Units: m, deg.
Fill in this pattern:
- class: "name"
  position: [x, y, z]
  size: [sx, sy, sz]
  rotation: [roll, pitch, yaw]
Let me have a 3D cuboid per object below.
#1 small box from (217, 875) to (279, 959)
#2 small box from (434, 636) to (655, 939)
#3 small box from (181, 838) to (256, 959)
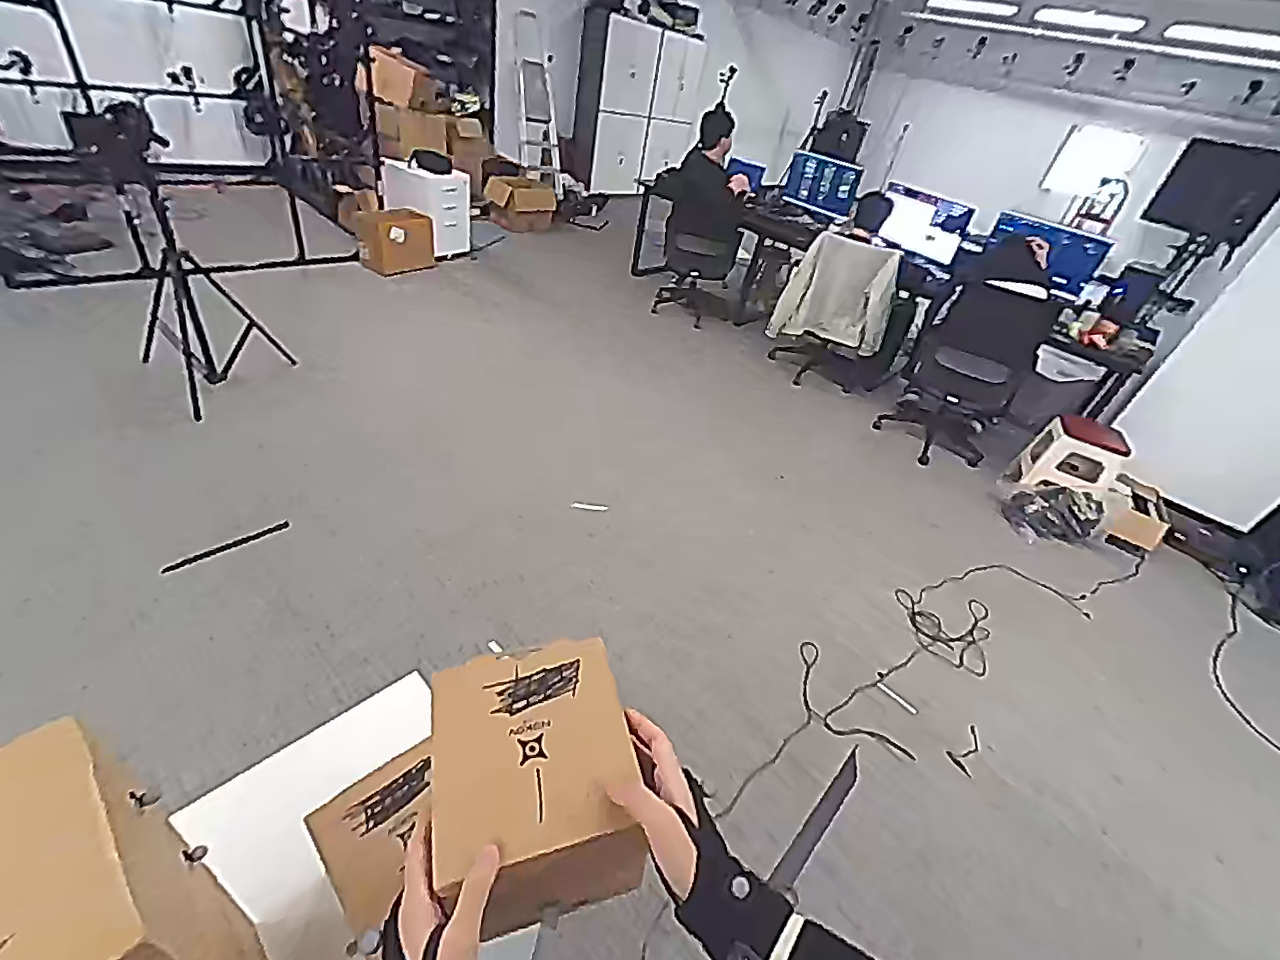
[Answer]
- class: "small box"
  position: [-0.449, 0.547, 0.523]
  size: [0.179, 0.176, 0.168]
  rotation: [36, 43, 30]
- class: "small box"
  position: [-0.094, 0.281, 0.509]
  size: [0.168, 0.176, 0.179]
  rotation: [-9, 41, -15]
- class: "small box"
  position: [-0.419, 0.421, 0.425]
  size: [0.179, 0.176, 0.168]
  rotation: [36, 42, 28]
